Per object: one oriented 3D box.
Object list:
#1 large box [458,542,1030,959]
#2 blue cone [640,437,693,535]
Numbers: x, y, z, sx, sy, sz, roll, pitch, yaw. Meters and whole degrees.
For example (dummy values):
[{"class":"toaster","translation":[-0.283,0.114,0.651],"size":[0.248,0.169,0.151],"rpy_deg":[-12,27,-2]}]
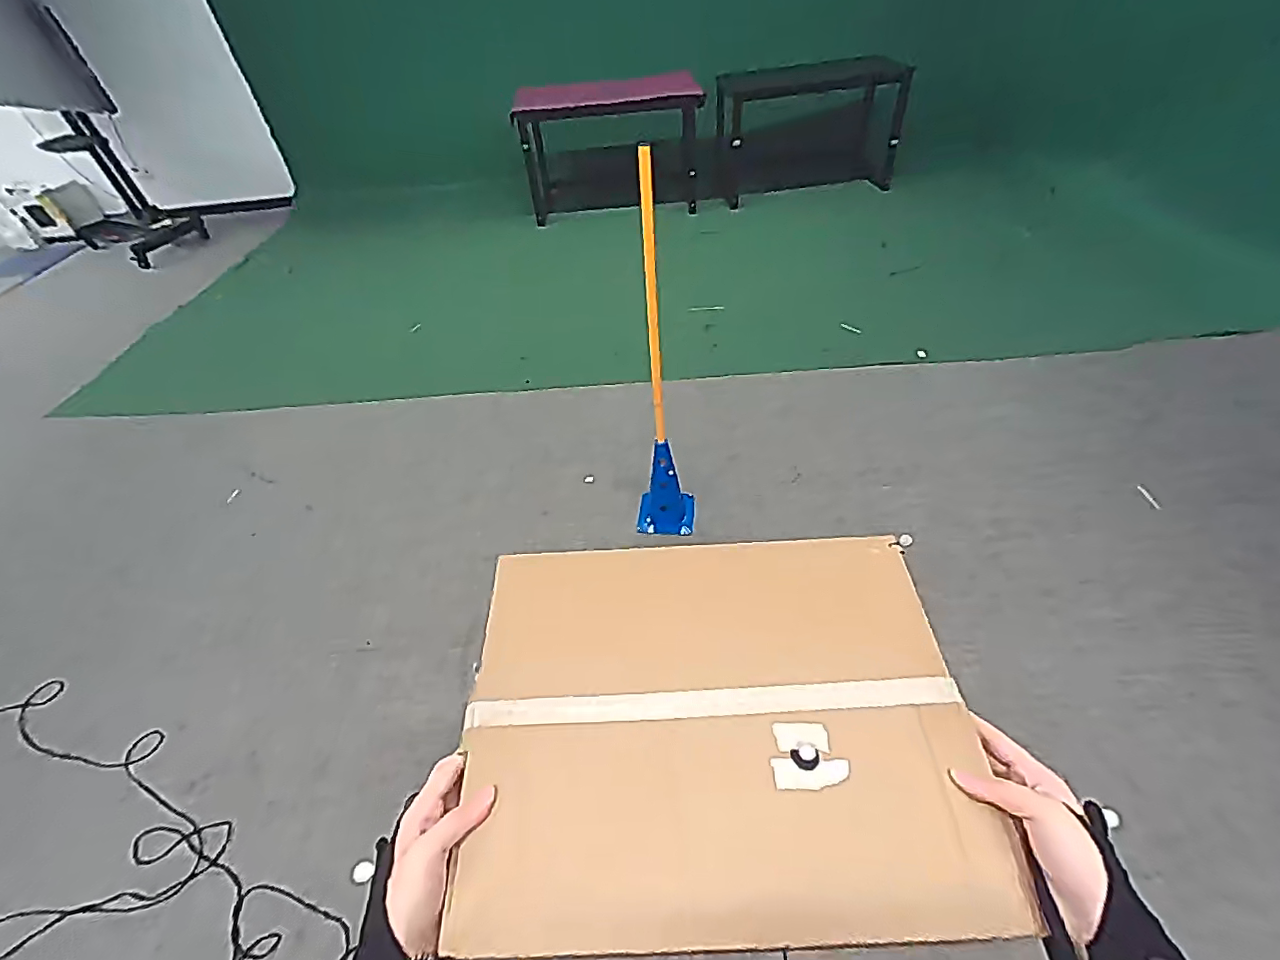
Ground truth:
[{"class":"large box","translation":[0.068,0.289,0.575],"size":[0.408,0.320,0.320],"rpy_deg":[-3,50,0]},{"class":"blue cone","translation":[0.086,0.012,1.884],"size":[0.193,0.380,0.192],"rpy_deg":[3,45,10]}]
